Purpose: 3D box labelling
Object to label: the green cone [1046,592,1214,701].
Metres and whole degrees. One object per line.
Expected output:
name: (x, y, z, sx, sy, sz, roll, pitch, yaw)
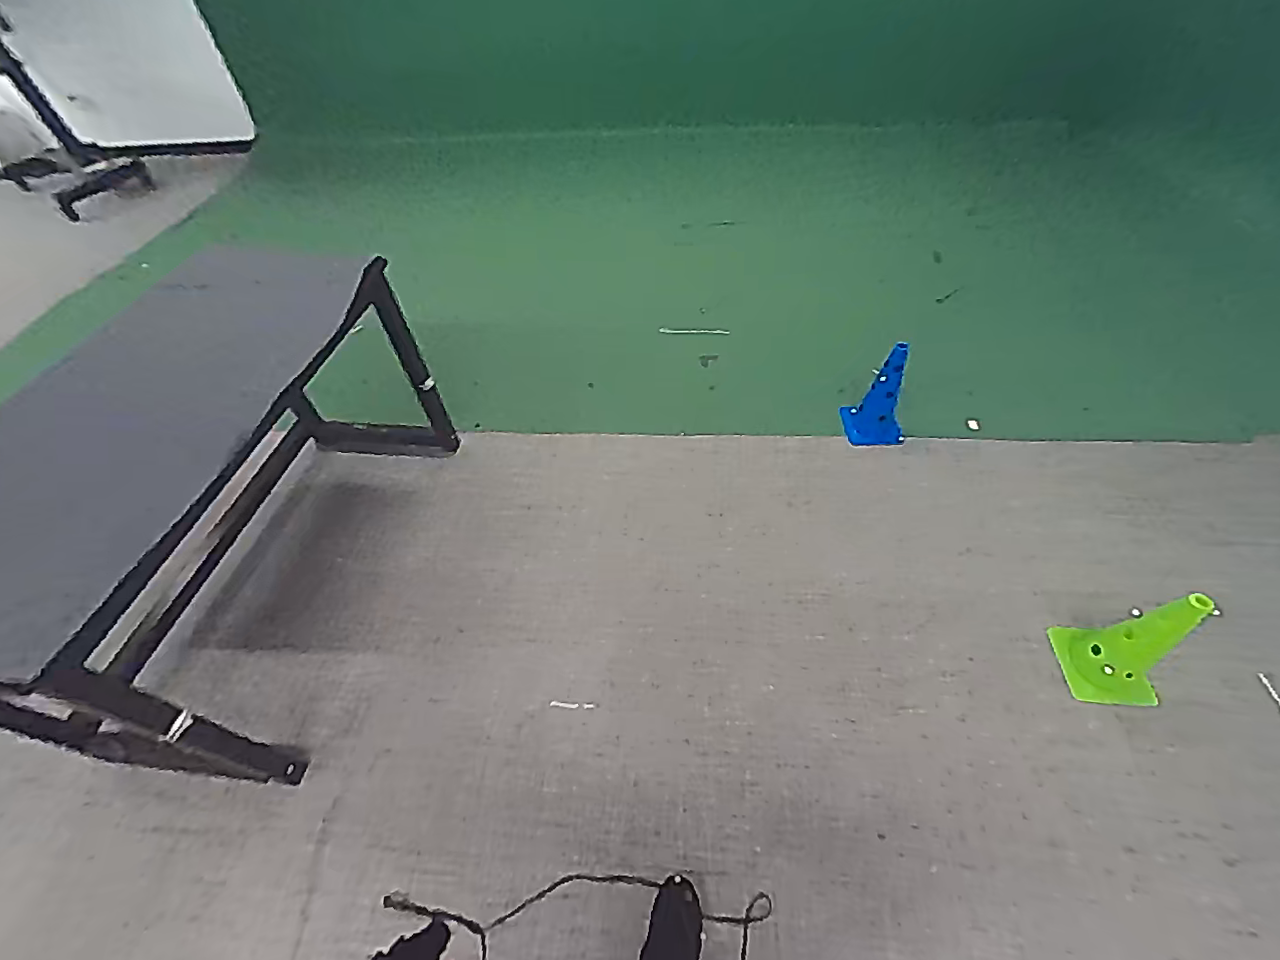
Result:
green cone: (1.177, 0.358, 1.267, 0.200, 0.368, 0.202, 1, 51, 4)
